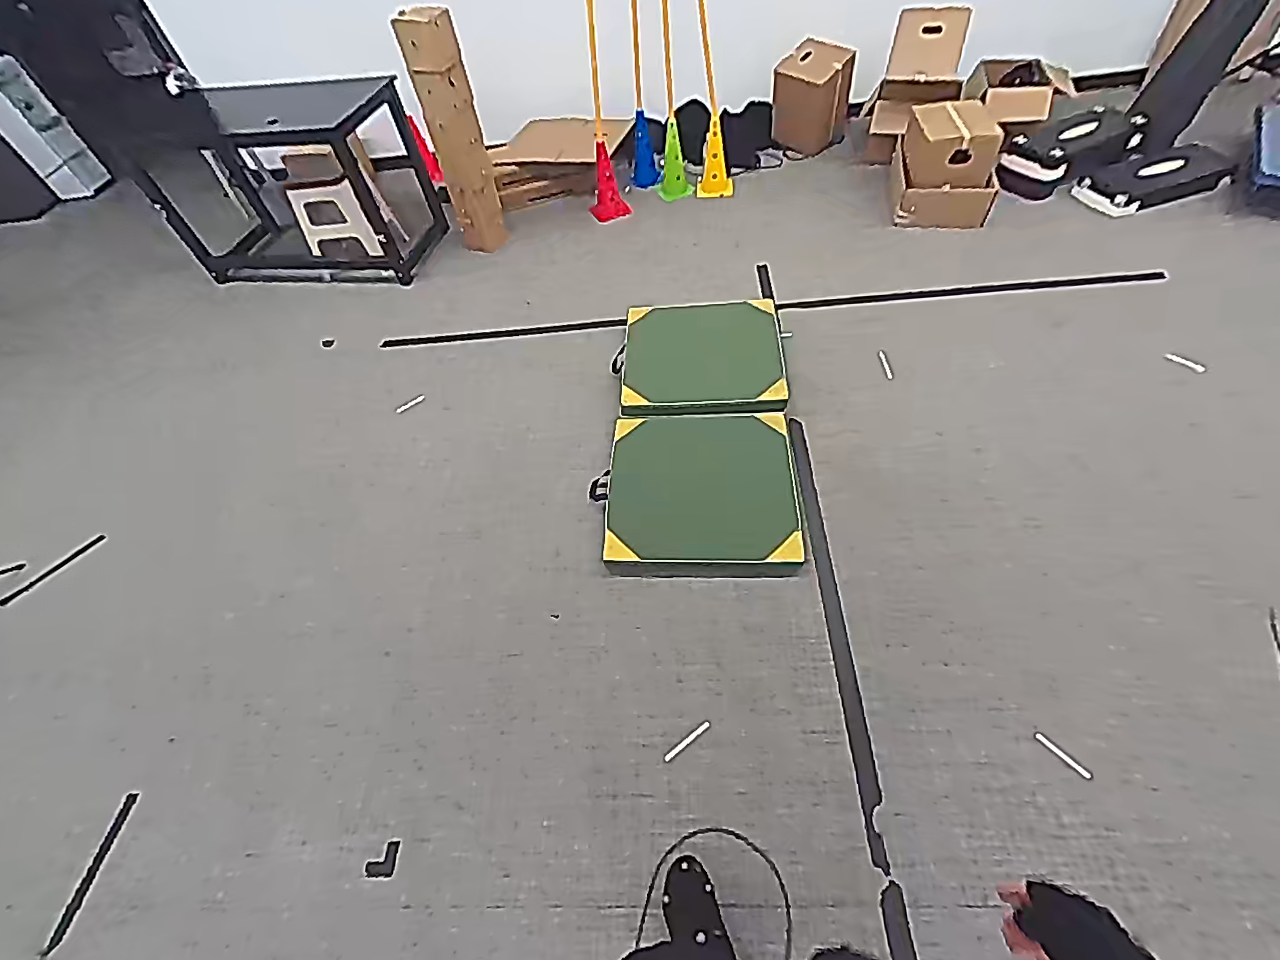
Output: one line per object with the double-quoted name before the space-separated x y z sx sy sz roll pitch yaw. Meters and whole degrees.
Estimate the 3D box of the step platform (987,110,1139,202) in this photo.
"step platform" 2.127 -1.638 2.720 0.684 0.204 0.286 -26 54 -12
